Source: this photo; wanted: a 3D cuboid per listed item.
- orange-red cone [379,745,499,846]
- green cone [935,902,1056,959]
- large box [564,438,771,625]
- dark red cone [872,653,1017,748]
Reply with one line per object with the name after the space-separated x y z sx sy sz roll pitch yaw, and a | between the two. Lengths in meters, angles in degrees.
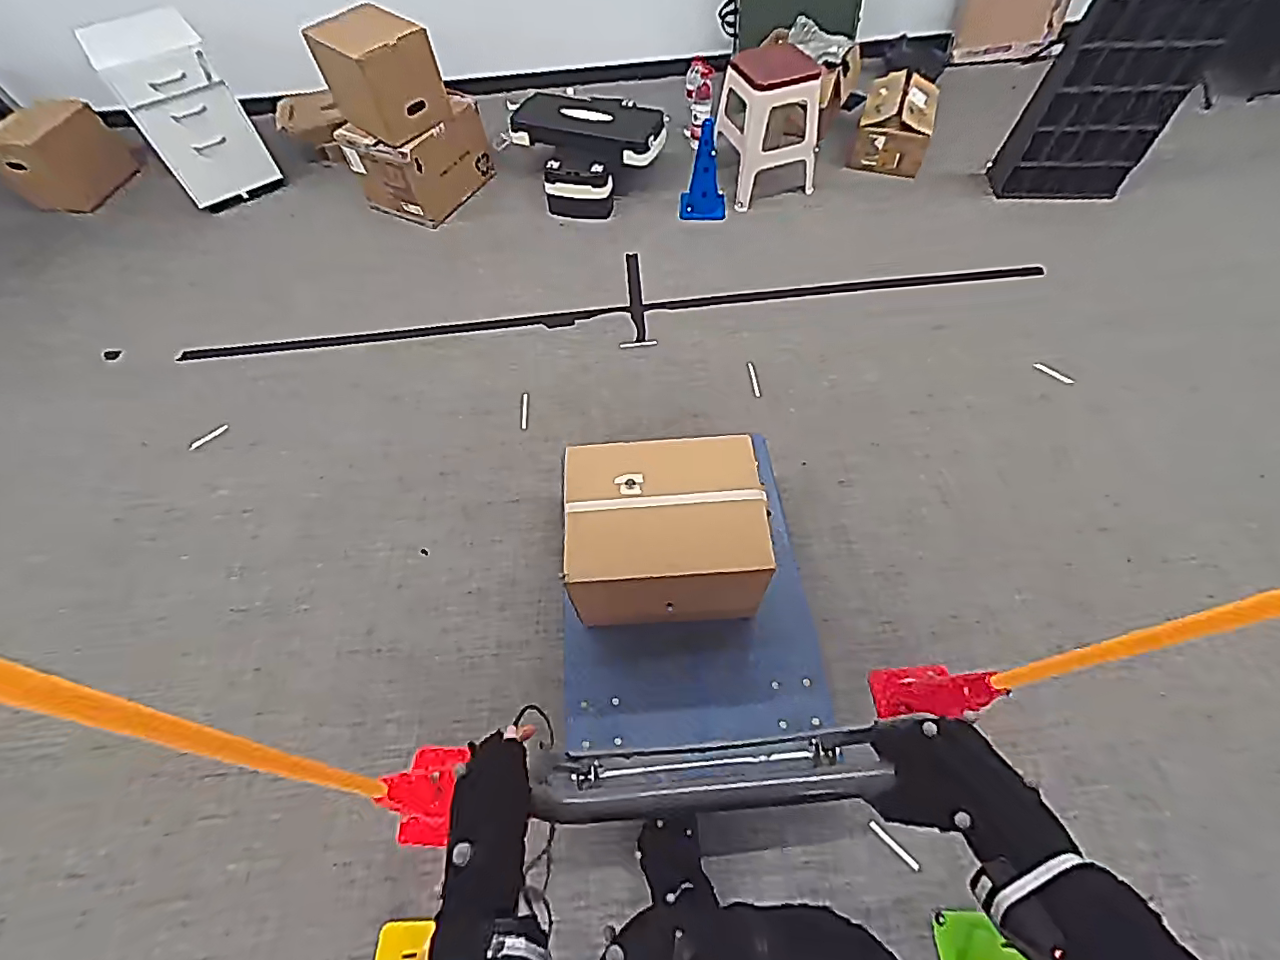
-0.446 0.638 1.117 0.198 0.360 0.199 1 57 3 | orange-red cone
0.693 0.862 0.909 0.202 0.368 0.200 -2 58 1 | green cone
0.052 0.130 1.229 0.408 0.320 0.320 -5 60 1 | large box
0.671 0.440 1.149 0.201 0.394 0.202 -5 59 -2 | dark red cone
